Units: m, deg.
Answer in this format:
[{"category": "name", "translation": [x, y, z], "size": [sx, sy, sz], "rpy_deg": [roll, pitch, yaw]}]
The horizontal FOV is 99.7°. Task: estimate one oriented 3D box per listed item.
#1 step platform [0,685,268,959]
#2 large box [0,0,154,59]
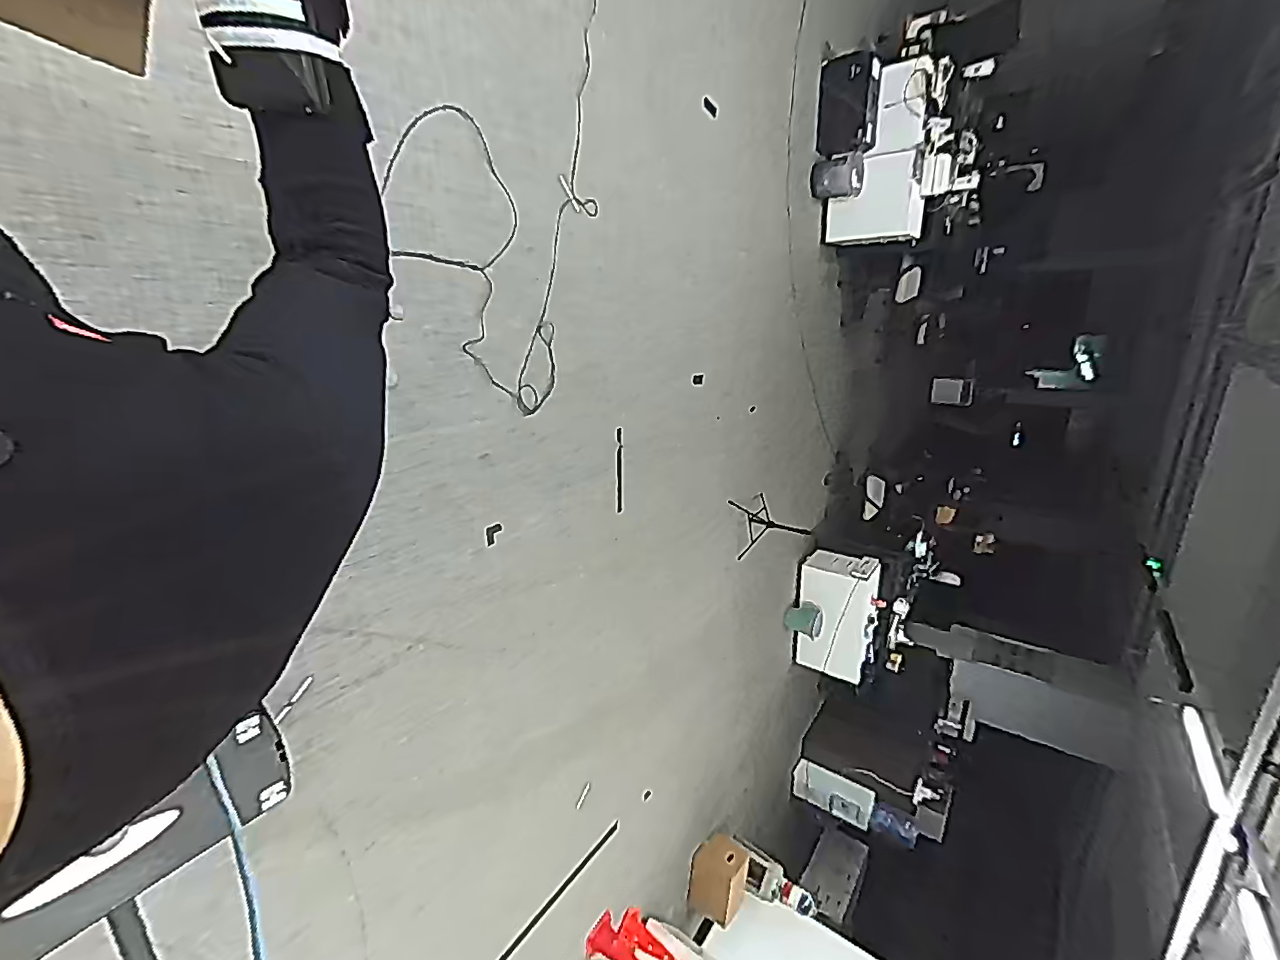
[{"category": "step platform", "translation": [-1.149, 0.722, 1.069], "size": [0.684, 0.204, 0.286], "rpy_deg": [-25, 118, -48]}, {"category": "large box", "translation": [-0.467, -0.485, 0.225], "size": [0.408, 0.320, 0.320], "rpy_deg": [2, 106, -45]}]
